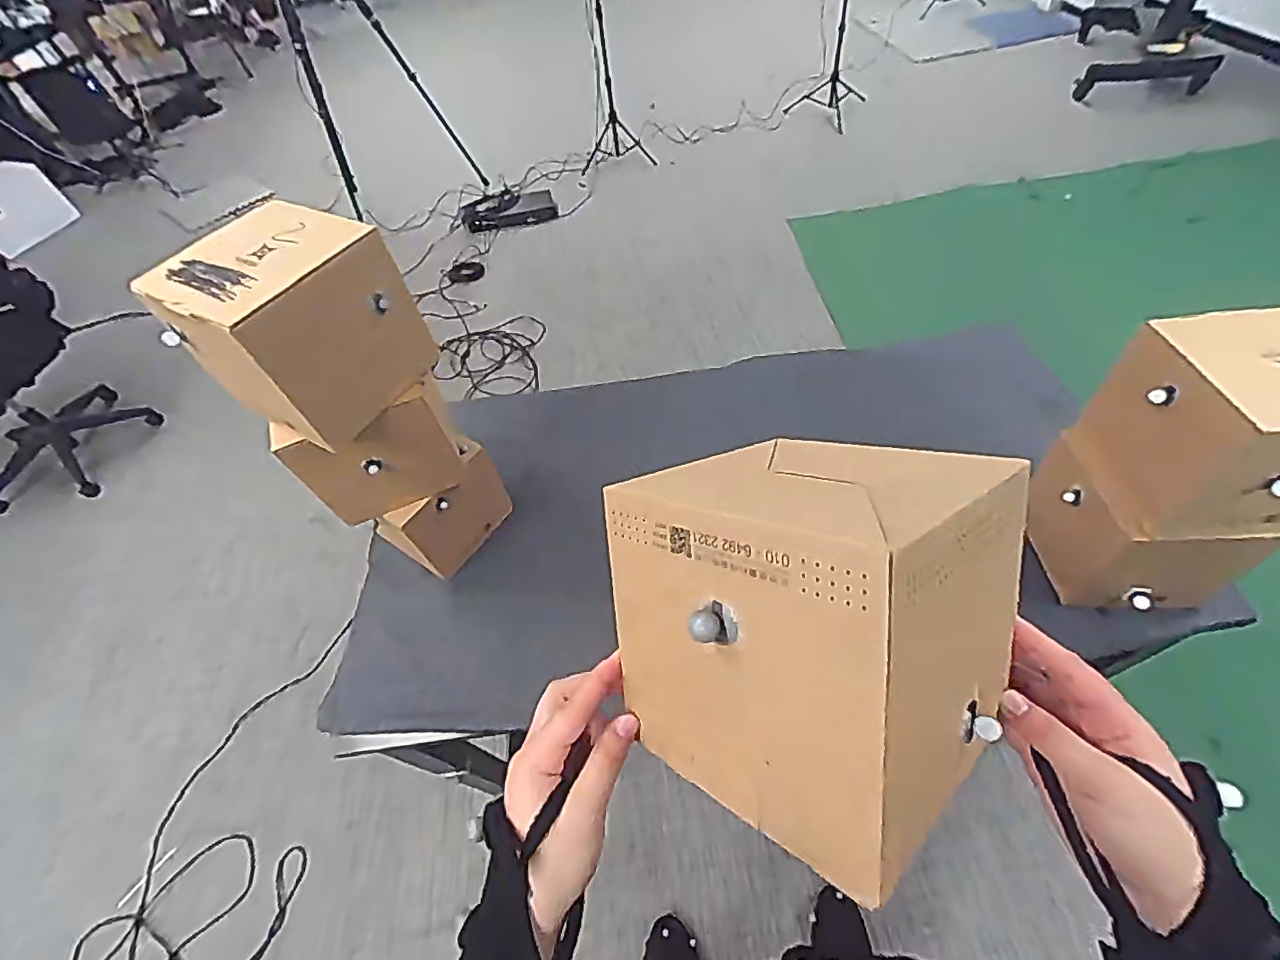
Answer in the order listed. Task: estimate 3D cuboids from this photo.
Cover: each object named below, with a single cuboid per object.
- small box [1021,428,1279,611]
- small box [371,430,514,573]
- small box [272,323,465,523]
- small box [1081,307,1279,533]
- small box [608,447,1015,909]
[{"bbox_3d":[0.631,0.049,0.691,0.168,0.176,0.179,-3,50,8],"label":"small box"},{"bbox_3d":[-0.334,0.021,0.861,0.179,0.176,0.168,26,62,24],"label":"small box"},{"bbox_3d":[-0.353,-0.073,0.726,0.179,0.176,0.168,-24,55,-9],"label":"small box"},{"bbox_3d":[0.624,-0.056,0.567,0.168,0.176,0.179,-4,49,7],"label":"small box"},{"bbox_3d":[0.100,0.076,0.321,0.179,0.176,0.168,-16,18,-39],"label":"small box"}]
